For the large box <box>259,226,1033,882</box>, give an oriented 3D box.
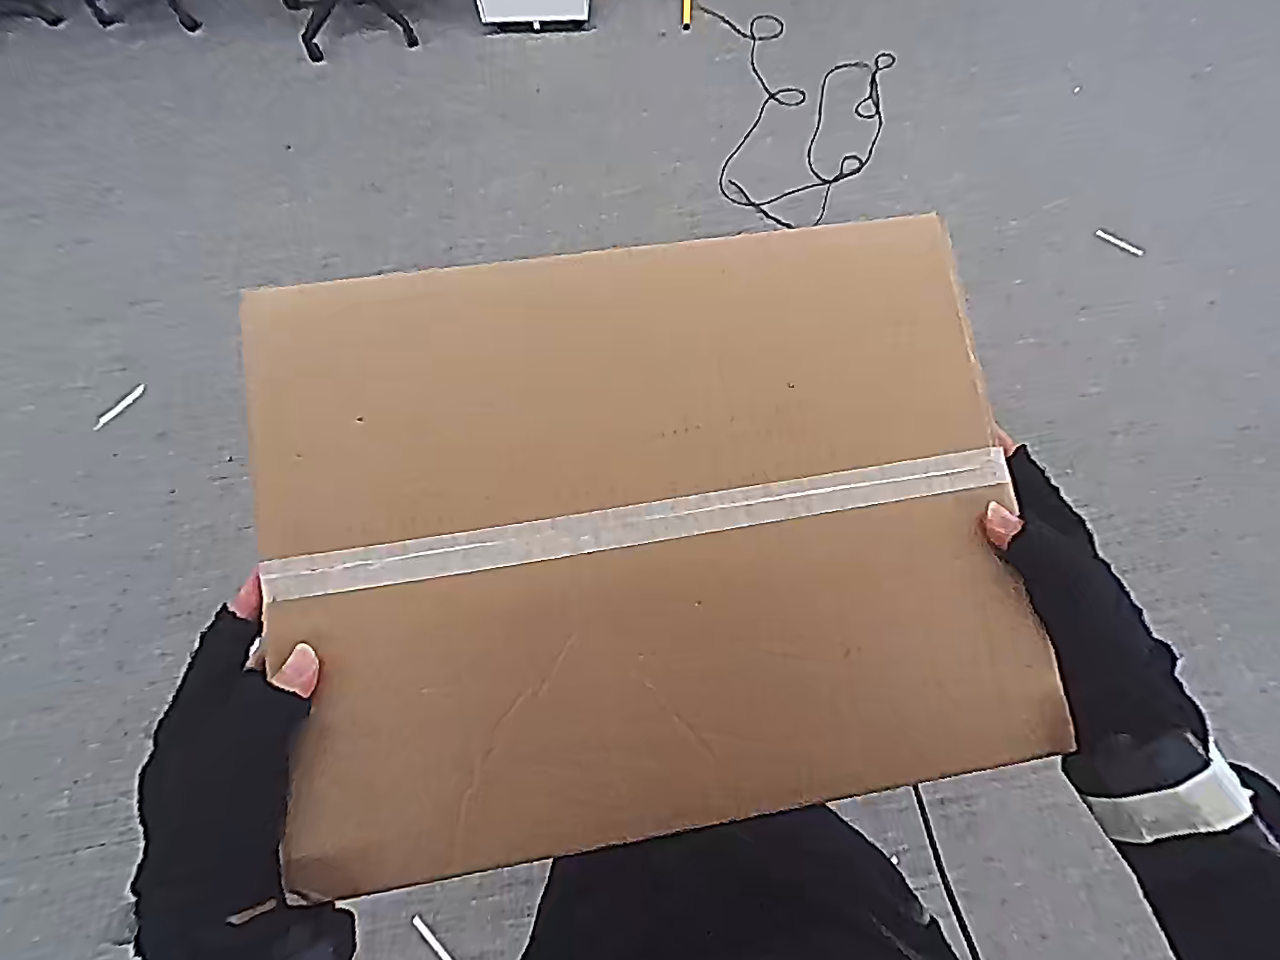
[{"bbox_3d":[-0.004,0.040,0.450,0.408,0.320,0.320,-8,82,-5],"label":"large box"}]
